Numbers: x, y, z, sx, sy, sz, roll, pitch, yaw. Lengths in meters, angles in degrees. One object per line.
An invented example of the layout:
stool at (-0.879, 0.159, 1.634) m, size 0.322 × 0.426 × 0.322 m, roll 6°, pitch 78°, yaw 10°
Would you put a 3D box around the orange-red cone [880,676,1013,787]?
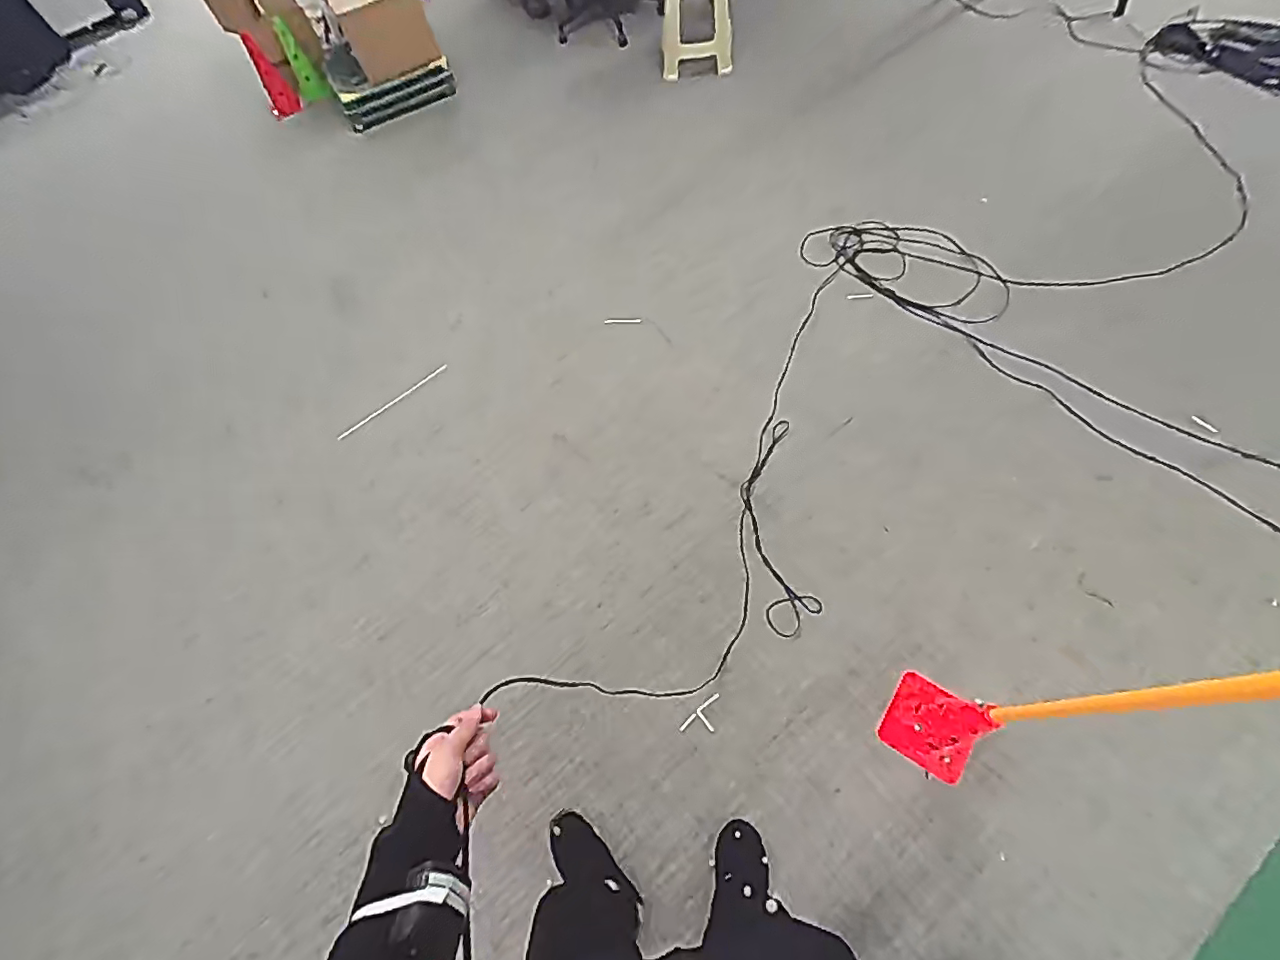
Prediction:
orange-red cone at (0.705, 0.536, 1.184) m, size 0.198 × 0.360 × 0.199 m, roll 31°, pitch 69°, yaw 20°
